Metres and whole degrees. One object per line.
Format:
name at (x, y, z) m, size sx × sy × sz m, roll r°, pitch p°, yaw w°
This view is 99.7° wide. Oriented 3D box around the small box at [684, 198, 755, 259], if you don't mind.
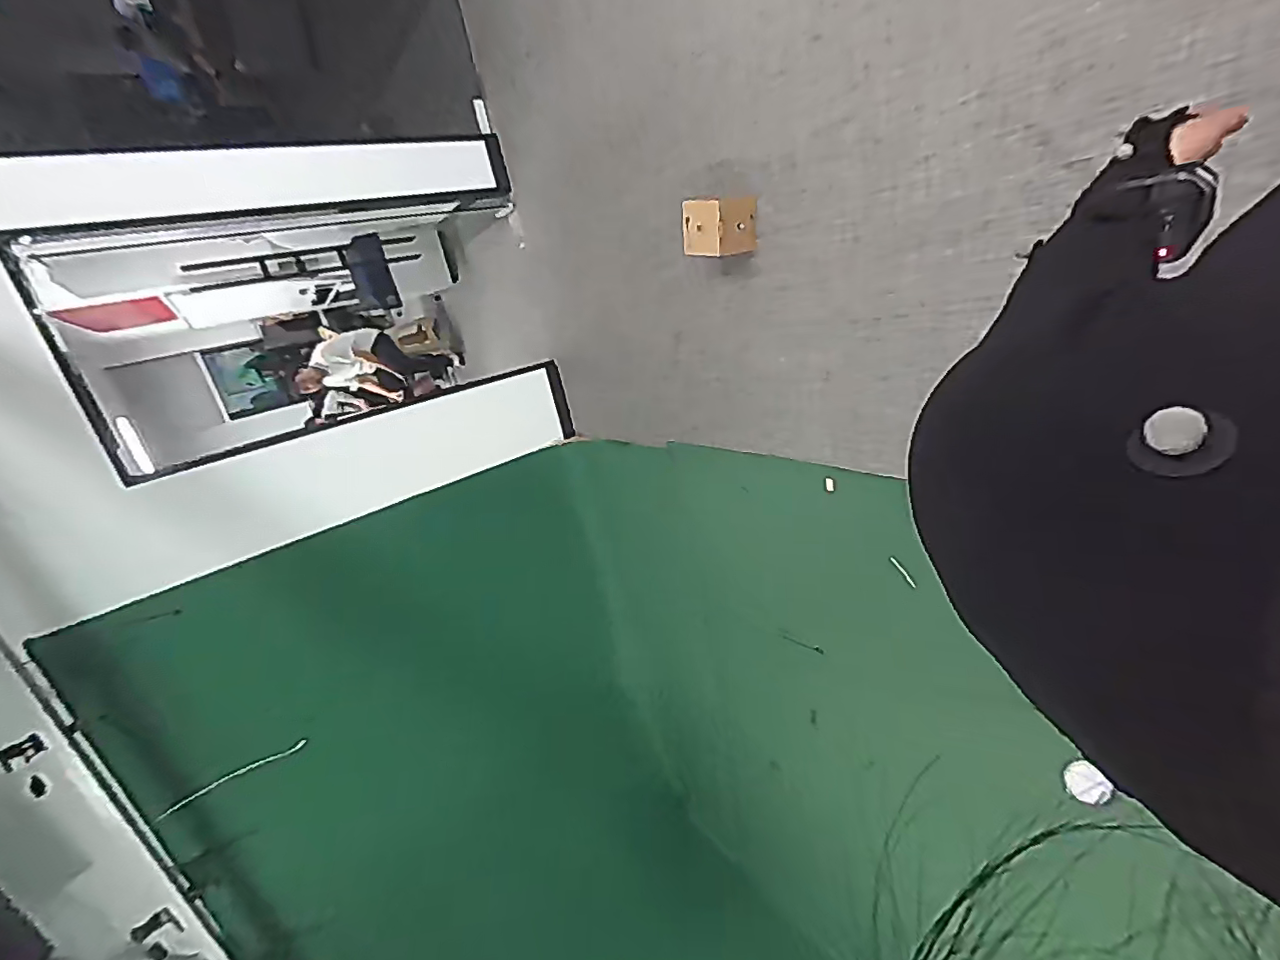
small box at (0.267, -0.843, 1.804) m, size 0.179 × 0.176 × 0.168 m, roll 29°, pitch 133°, yaw 45°
